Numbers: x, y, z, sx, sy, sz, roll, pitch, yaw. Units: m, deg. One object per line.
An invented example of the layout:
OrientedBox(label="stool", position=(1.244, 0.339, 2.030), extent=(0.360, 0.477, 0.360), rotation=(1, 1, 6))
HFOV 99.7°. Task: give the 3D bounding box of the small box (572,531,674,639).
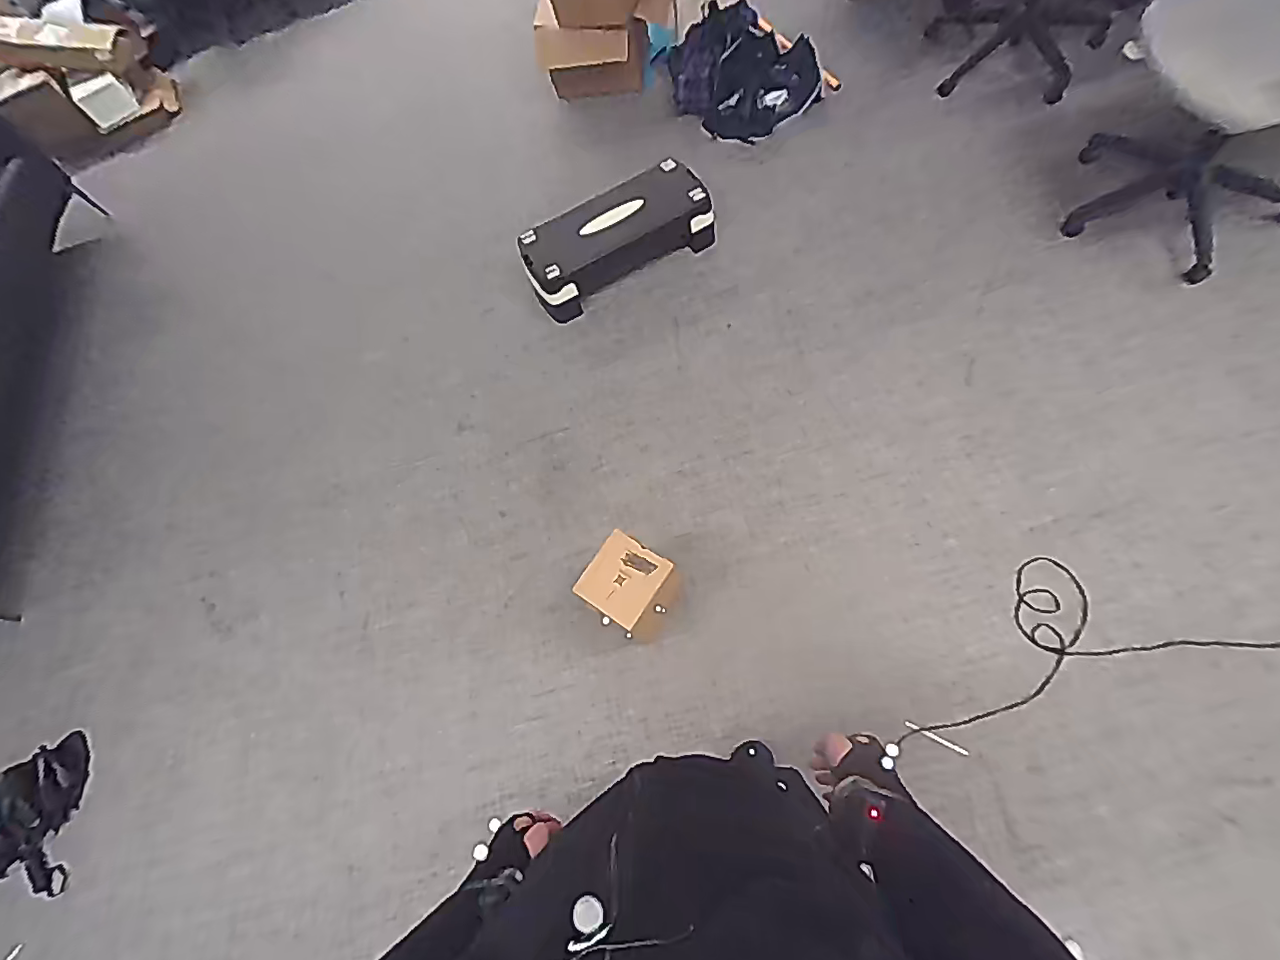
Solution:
OrientedBox(label="small box", position=(-0.031, 0.253, 1.279), extent=(0.168, 0.176, 0.179), rotation=(30, 75, 20))

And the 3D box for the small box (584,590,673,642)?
OrientedBox(label="small box", position=(-0.021, 0.311, 1.433), extent=(0.168, 0.176, 0.179), rotation=(23, 71, 18))
